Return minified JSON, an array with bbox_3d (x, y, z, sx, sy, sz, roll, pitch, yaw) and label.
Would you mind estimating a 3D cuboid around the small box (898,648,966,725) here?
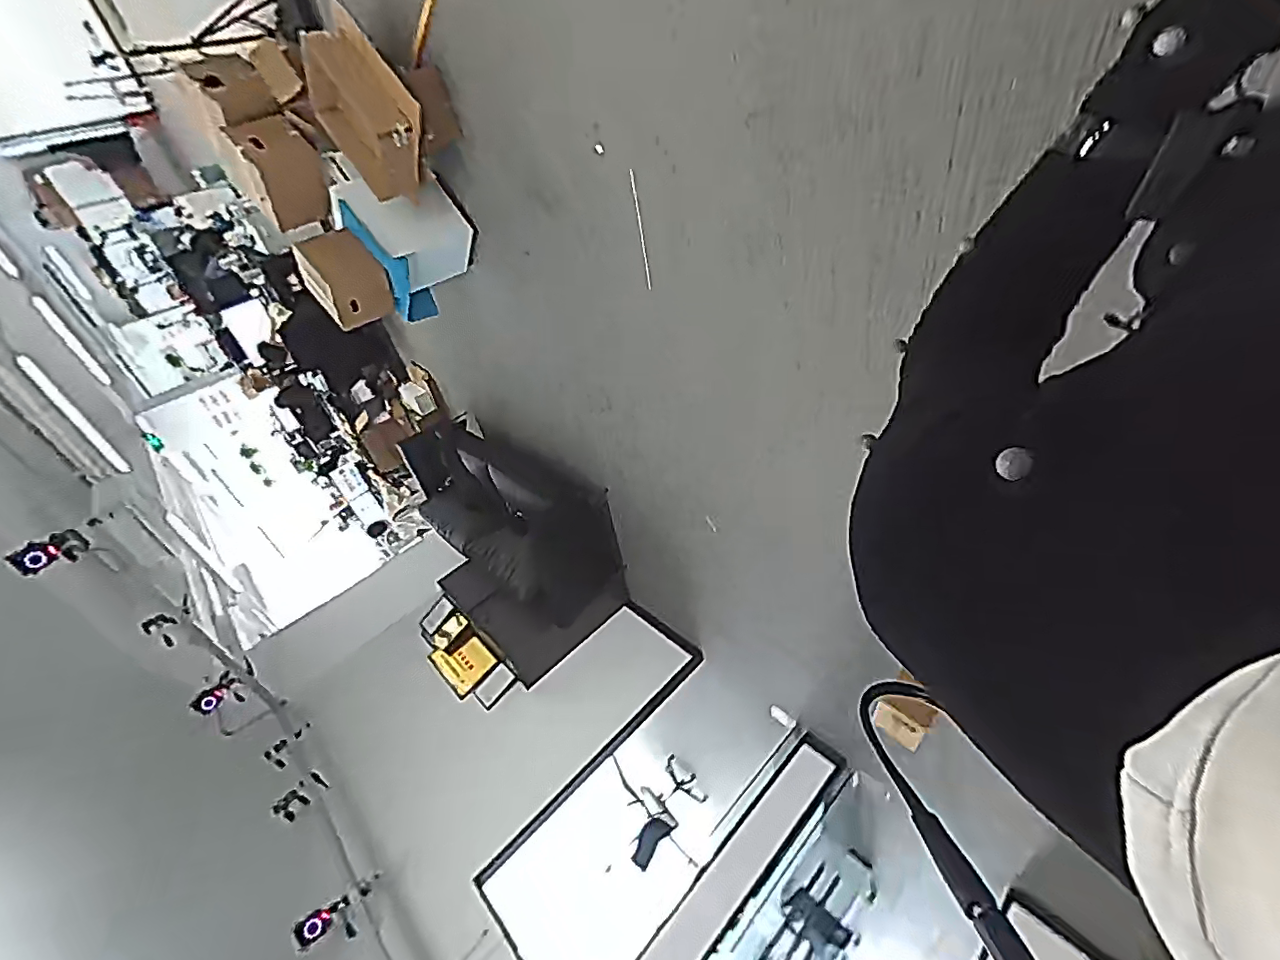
[{"bbox_3d":[1.094,0.765,2.022,0.168,0.176,0.179,26,141,42],"label":"small box"}]
